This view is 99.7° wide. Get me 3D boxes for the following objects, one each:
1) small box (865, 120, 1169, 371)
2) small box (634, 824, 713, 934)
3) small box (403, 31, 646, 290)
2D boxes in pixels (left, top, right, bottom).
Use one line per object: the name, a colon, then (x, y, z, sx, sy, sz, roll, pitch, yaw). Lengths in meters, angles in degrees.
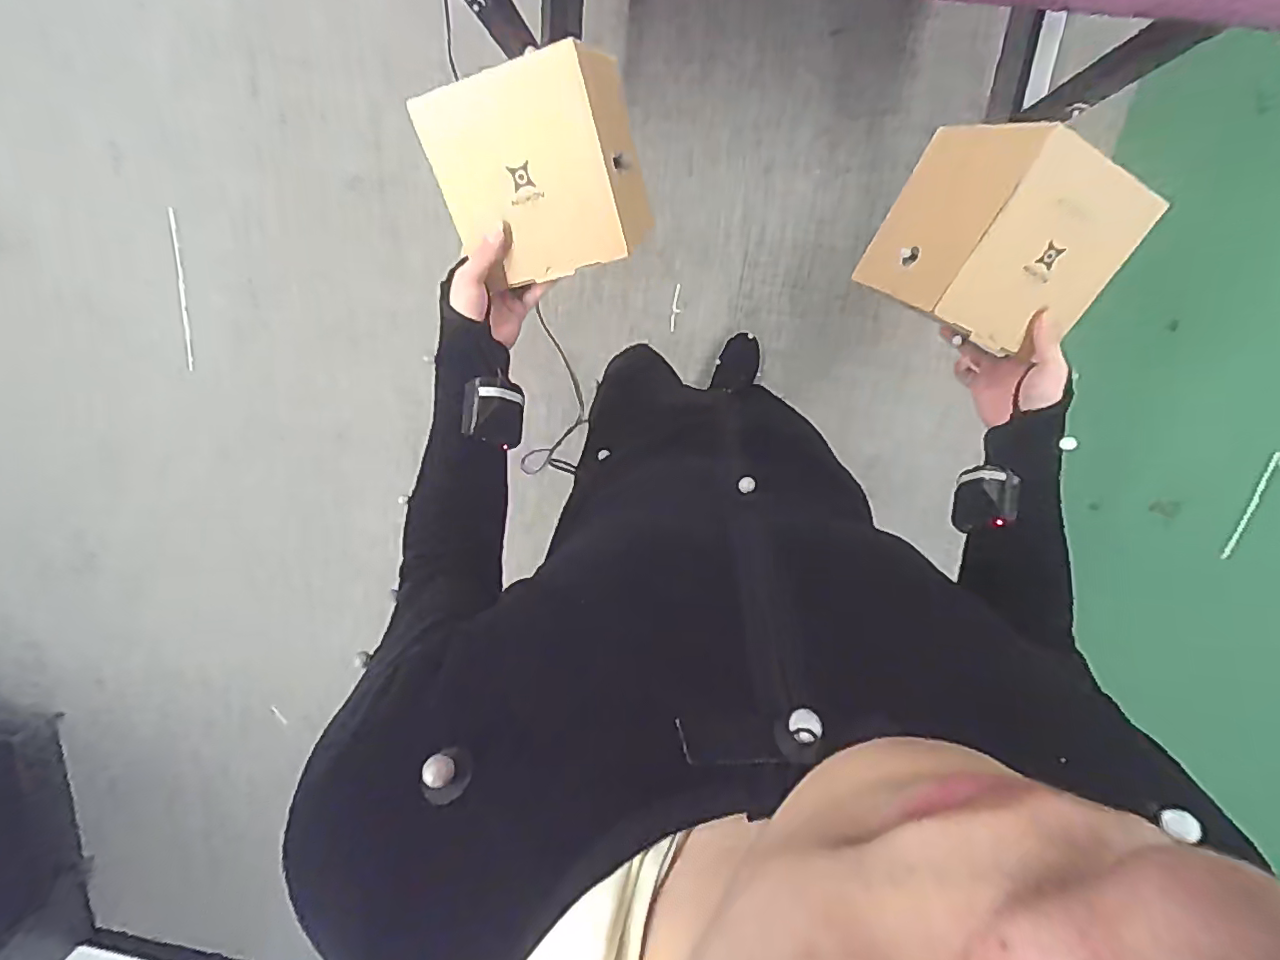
small box: (0.374, -0.249, 0.579, 0.168, 0.176, 0.179, 17, 117, -20)
small box: (0.096, 1.110, 1.517, 0.179, 0.176, 0.168, 17, 107, 1)
small box: (-0.099, -0.318, 0.556, 0.168, 0.176, 0.179, -8, 122, 15)
